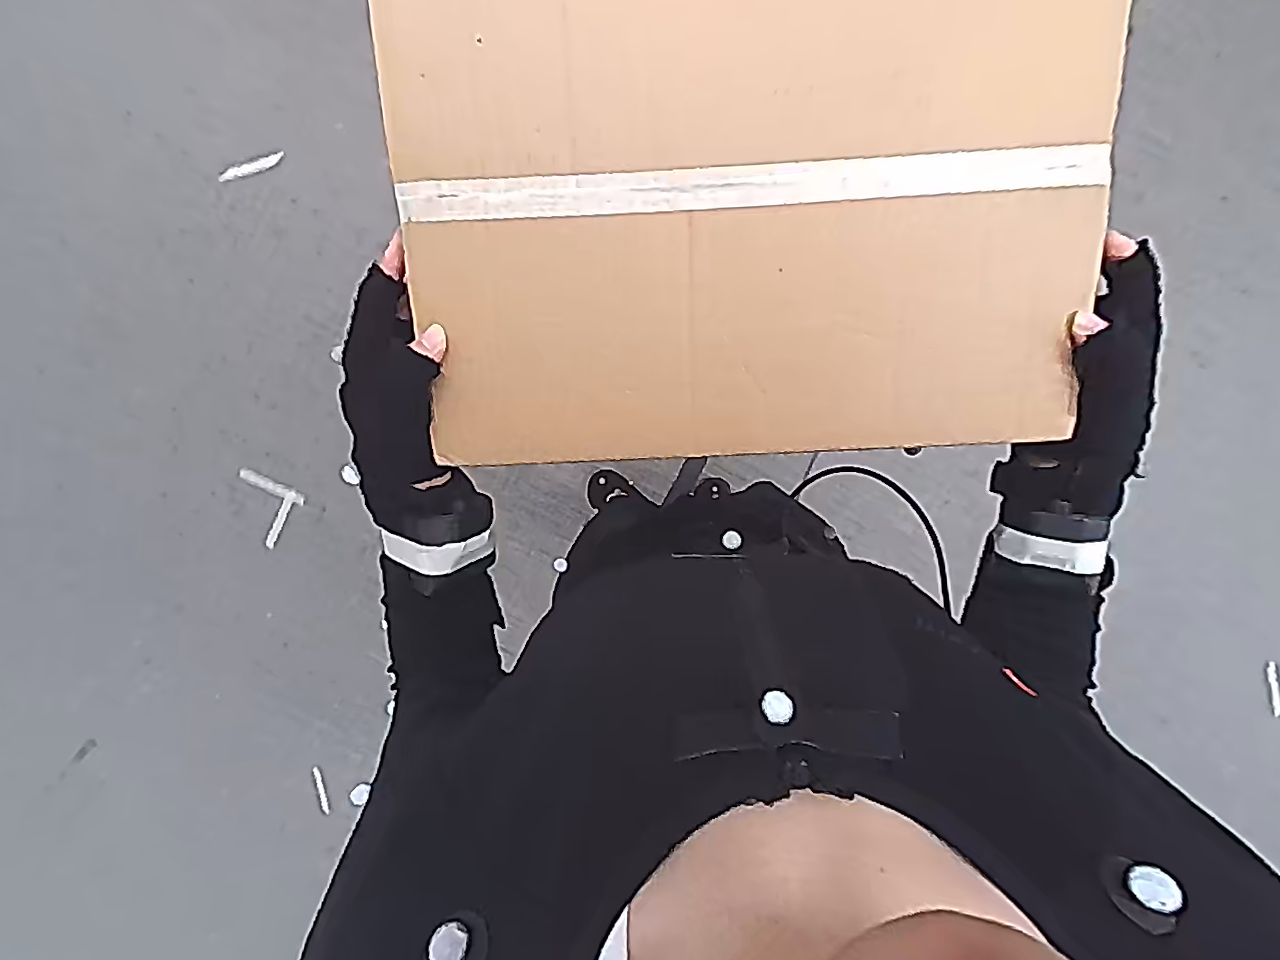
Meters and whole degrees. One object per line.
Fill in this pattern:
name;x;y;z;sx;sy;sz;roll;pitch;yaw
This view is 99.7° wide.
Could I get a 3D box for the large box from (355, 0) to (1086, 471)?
large box;0.052;-0.206;0.463;0.408;0.320;0.320;-4;104;1
